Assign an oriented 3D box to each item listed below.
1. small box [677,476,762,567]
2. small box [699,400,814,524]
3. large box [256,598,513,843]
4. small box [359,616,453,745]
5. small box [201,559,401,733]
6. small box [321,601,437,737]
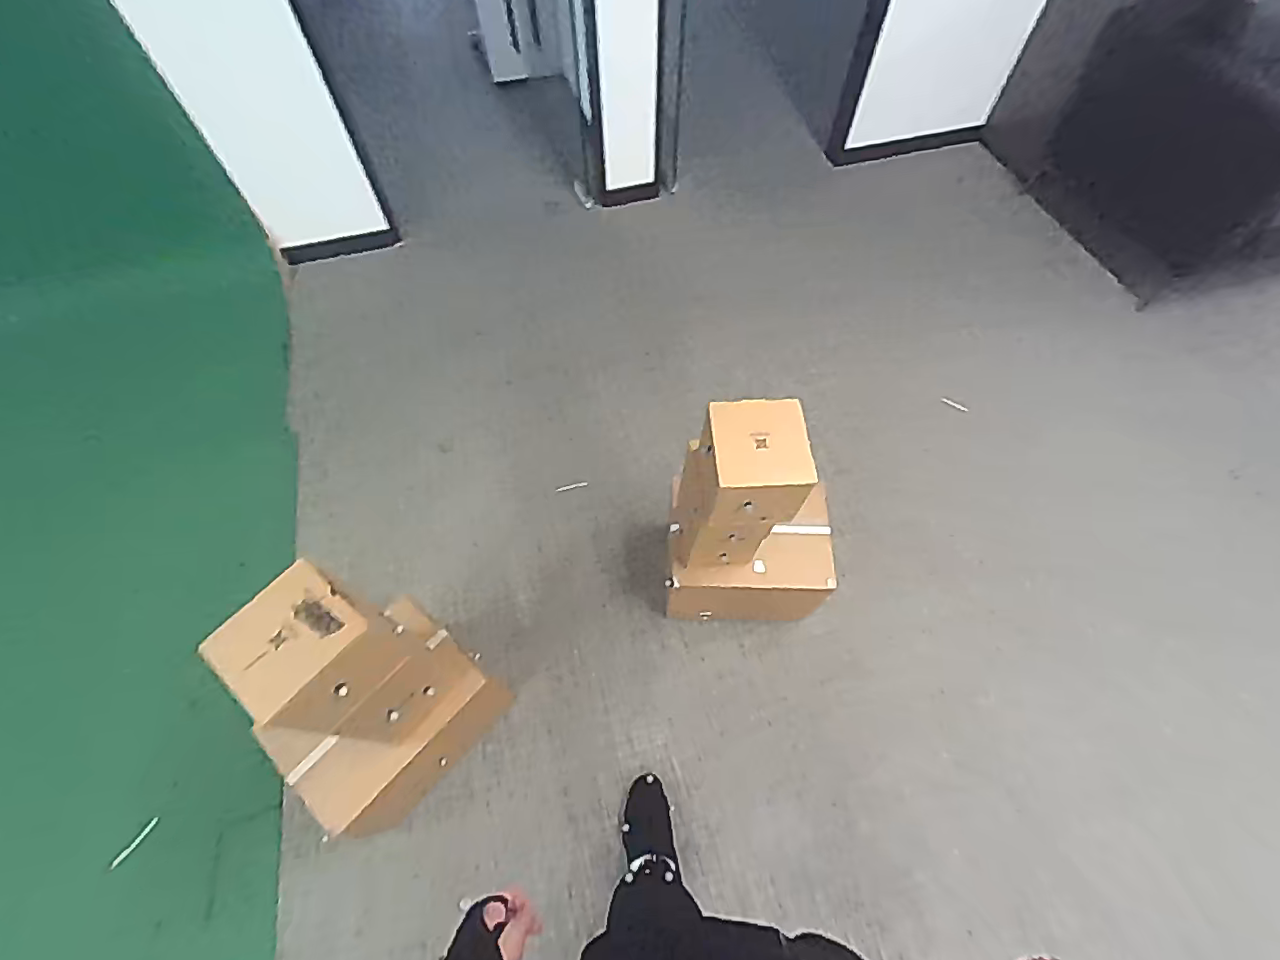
[{"bbox_3d":[0.183,0.103,1.297,0.168,0.176,0.179,-5,61,-4],"label":"small box"},{"bbox_3d":[0.204,-0.025,0.995,0.168,0.176,0.179,-3,61,-2],"label":"small box"},{"bbox_3d":[-0.581,0.570,1.310,0.320,0.320,0.408,36,67,20],"label":"large box"},{"bbox_3d":[-0.510,0.416,1.114,0.168,0.176,0.179,36,66,19],"label":"small box"},{"bbox_3d":[-0.497,0.258,0.829,0.168,0.176,0.179,36,68,19],"label":"small box"},{"bbox_3d":[-0.503,0.338,0.972,0.179,0.176,0.168,38,68,19],"label":"small box"}]
